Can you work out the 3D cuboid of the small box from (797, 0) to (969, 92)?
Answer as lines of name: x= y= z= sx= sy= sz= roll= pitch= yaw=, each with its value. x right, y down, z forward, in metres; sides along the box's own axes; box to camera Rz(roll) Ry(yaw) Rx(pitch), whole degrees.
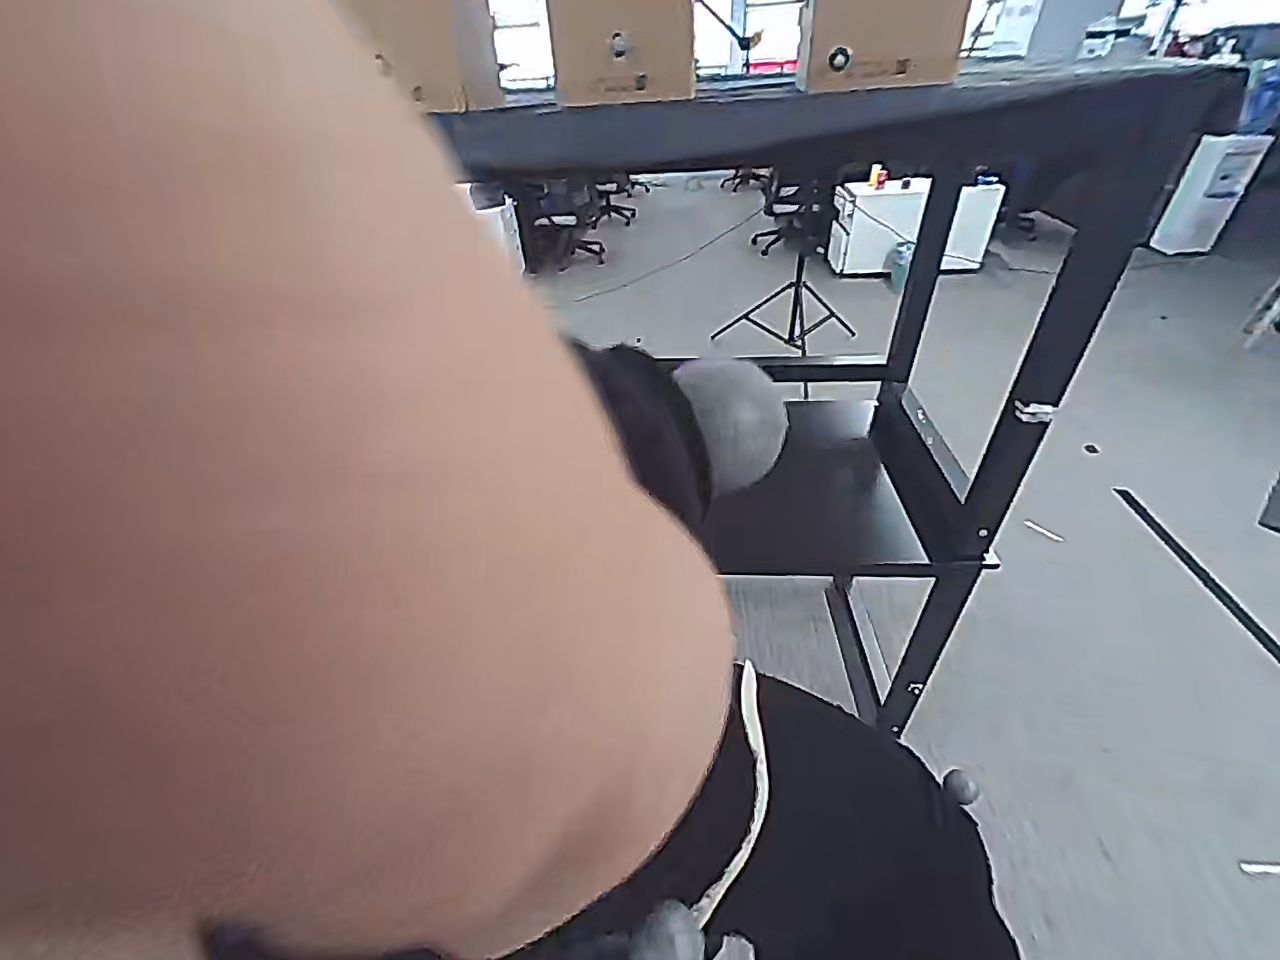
small box: x=0.284 y=-0.571 z=0.641 sx=0.168 sy=0.176 sz=0.179 roll=2 pitch=37 yaw=9

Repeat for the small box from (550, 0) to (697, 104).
small box: x=-0.014 y=-0.569 z=0.664 sx=0.168 sy=0.176 sz=0.179 roll=0 pitch=37 yaw=7

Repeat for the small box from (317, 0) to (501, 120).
small box: x=-0.286 y=-0.566 z=0.689 sx=0.168 sy=0.176 sz=0.179 roll=0 pitch=38 yaw=4
